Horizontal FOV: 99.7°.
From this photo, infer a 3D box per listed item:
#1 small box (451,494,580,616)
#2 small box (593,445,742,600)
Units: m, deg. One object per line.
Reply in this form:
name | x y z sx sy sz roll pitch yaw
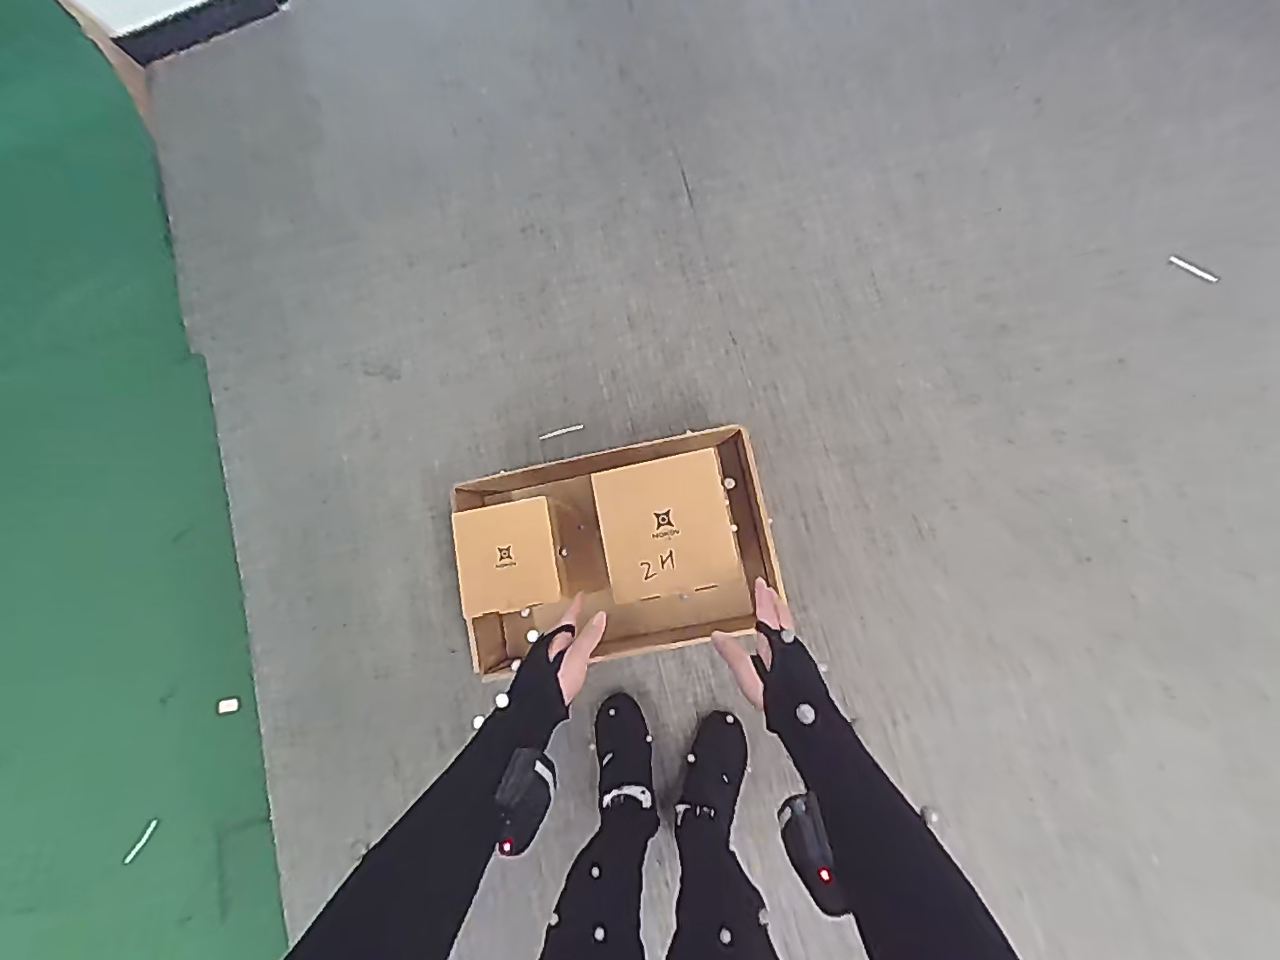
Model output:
small box | -0.211 0.133 0.949 0.168 0.176 0.179 -11 81 4
small box | 0.042 0.064 0.760 0.168 0.176 0.179 -12 81 7
